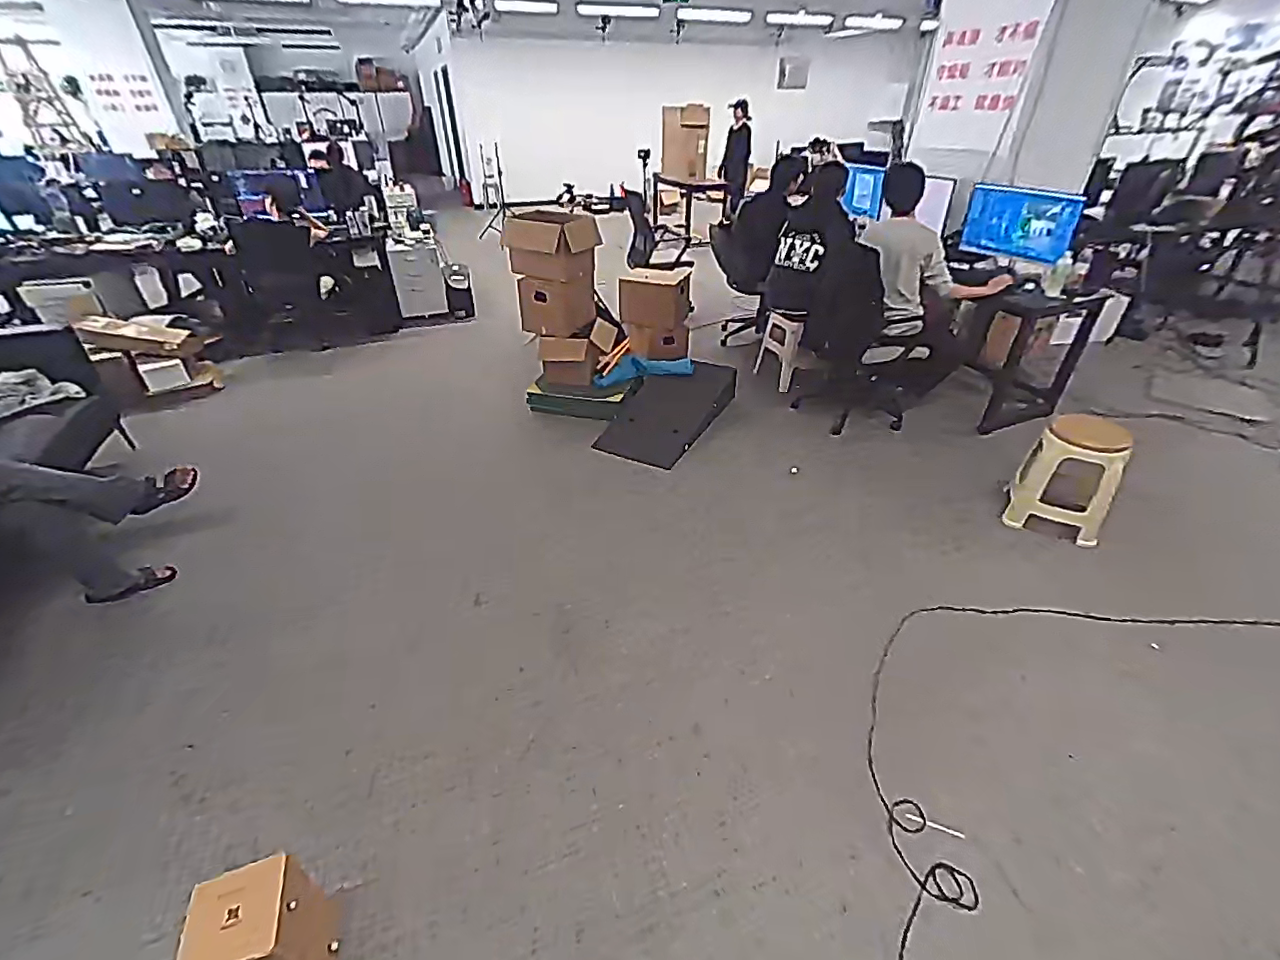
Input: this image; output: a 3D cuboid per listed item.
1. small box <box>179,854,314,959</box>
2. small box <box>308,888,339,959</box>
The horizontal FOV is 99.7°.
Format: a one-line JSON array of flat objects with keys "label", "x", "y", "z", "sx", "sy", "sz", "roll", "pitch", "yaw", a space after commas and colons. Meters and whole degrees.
[{"label": "small box", "x": -0.771, "y": 0.903, "z": 1.074, "sx": 0.168, "sy": 0.176, "sz": 0.179, "roll": -13, "pitch": 35, "yaw": -18}, {"label": "small box", "x": -0.767, "y": 1.037, "z": 1.164, "sx": 0.168, "sy": 0.176, "sz": 0.179, "roll": -12, "pitch": 35, "yaw": -15}]
